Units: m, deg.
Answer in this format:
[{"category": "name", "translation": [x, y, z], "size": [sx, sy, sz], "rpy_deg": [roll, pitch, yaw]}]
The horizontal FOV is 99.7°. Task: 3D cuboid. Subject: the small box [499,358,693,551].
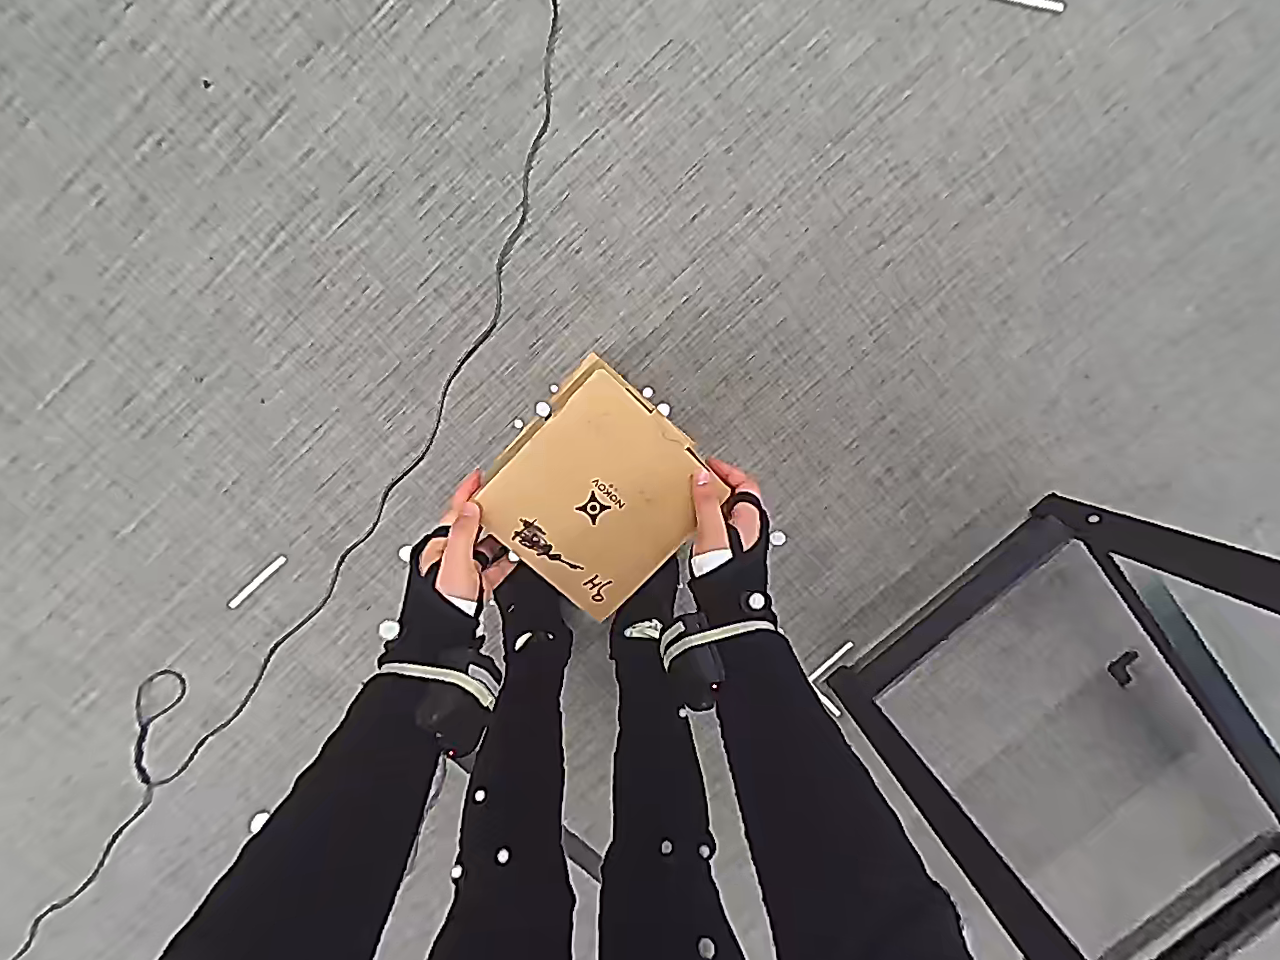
[{"category": "small box", "translation": [-0.057, -0.040, 0.718], "size": [0.168, 0.176, 0.179], "rpy_deg": [40, 94, -12]}]
